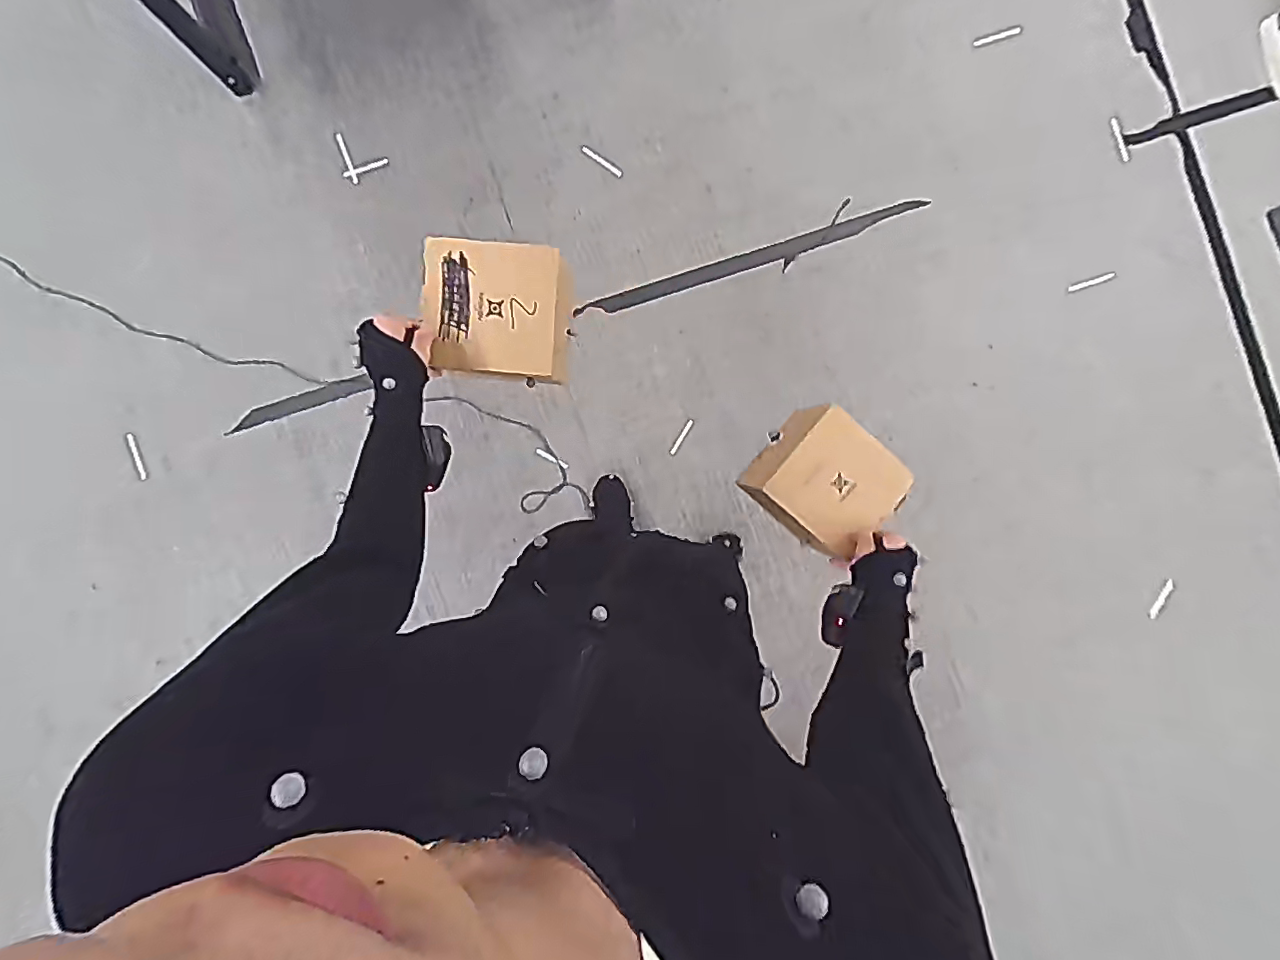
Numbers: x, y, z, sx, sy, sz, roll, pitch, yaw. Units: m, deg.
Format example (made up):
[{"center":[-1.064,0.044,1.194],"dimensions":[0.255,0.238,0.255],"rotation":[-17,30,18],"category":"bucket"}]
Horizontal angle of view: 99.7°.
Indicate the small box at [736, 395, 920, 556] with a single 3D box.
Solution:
[{"center":[0.279,-0.012,0.843],"dimensions":[0.179,0.176,0.168],"rotation":[40,90,-6],"category":"small box"}]
